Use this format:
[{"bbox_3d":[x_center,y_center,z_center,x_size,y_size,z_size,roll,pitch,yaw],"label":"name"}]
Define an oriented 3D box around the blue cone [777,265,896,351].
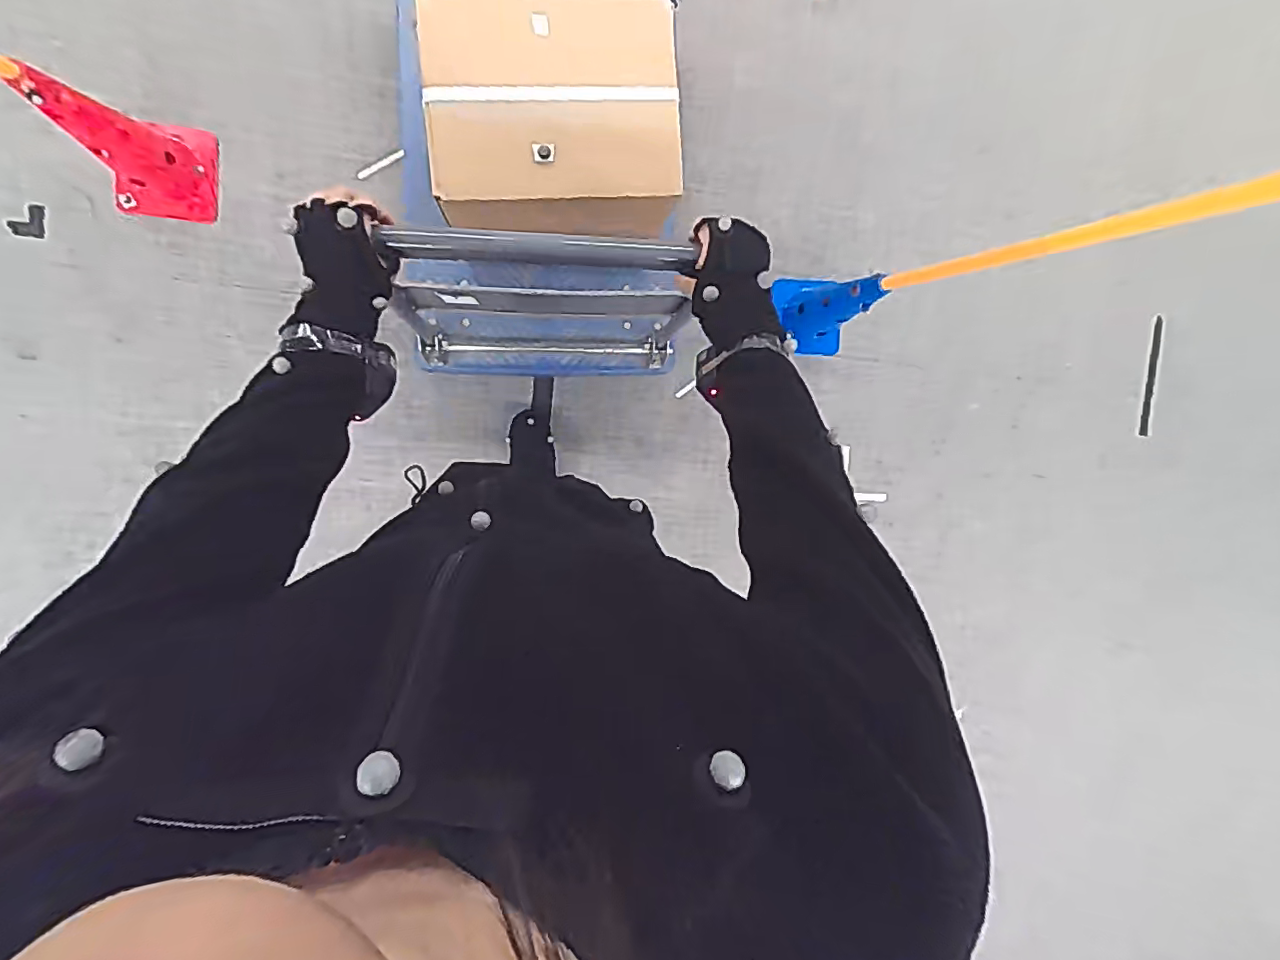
[{"bbox_3d":[0.490,-0.437,1.313,0.193,0.380,0.192,1,94,-10],"label":"blue cone"}]
